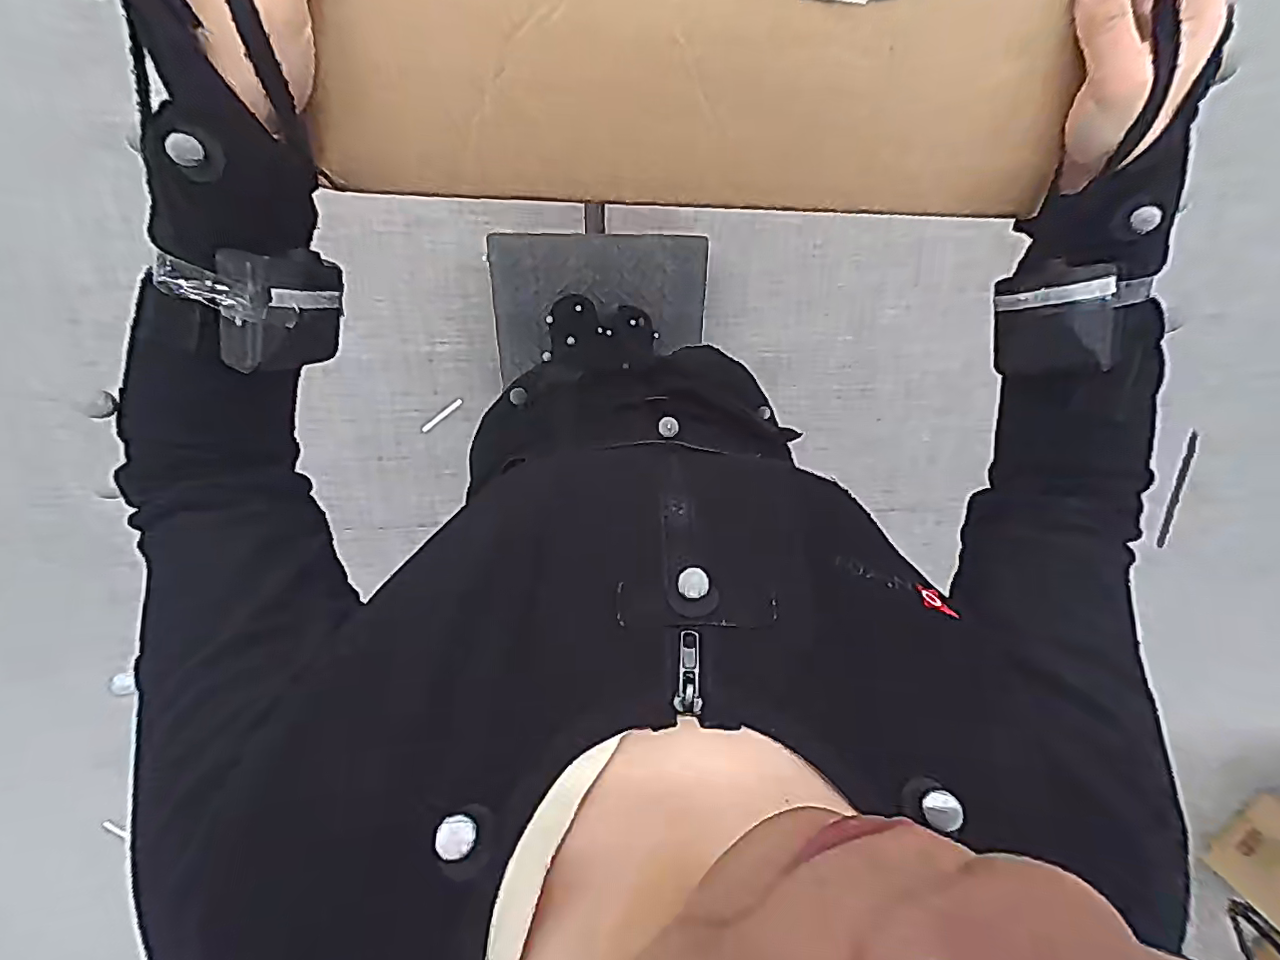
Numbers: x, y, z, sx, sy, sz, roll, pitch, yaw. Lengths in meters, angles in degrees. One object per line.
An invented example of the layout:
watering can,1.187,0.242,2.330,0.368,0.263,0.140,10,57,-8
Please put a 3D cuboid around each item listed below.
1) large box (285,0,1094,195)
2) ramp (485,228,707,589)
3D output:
large box,0.021,-0.376,0.345,0.408,0.320,0.320,-1,125,-6
ramp,-0.101,-0.112,1.422,0.509,0.206,0.991,-3,109,-5
